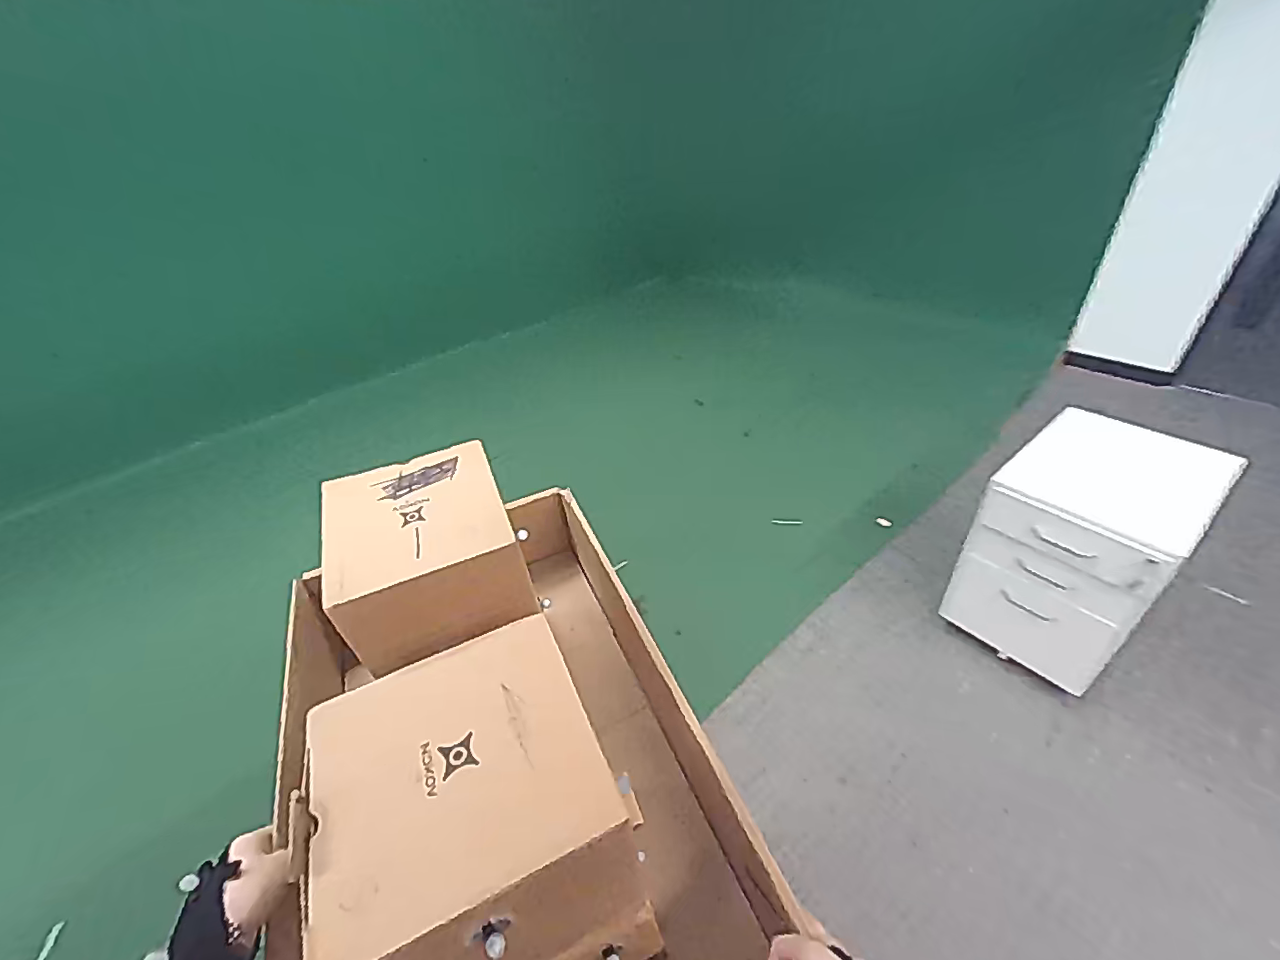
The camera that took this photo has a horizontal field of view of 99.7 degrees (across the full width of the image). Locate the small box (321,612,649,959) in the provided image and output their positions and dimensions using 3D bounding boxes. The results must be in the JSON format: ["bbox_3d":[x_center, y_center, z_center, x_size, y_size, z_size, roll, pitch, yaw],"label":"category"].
[{"bbox_3d":[-0.105,0.237,0.397,0.179,0.176,0.168,-19,42,-17],"label":"small box"}]

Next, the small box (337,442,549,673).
[{"bbox_3d":[-0.203,0.090,0.578,0.168,0.176,0.179,-18,44,-15],"label":"small box"}]
